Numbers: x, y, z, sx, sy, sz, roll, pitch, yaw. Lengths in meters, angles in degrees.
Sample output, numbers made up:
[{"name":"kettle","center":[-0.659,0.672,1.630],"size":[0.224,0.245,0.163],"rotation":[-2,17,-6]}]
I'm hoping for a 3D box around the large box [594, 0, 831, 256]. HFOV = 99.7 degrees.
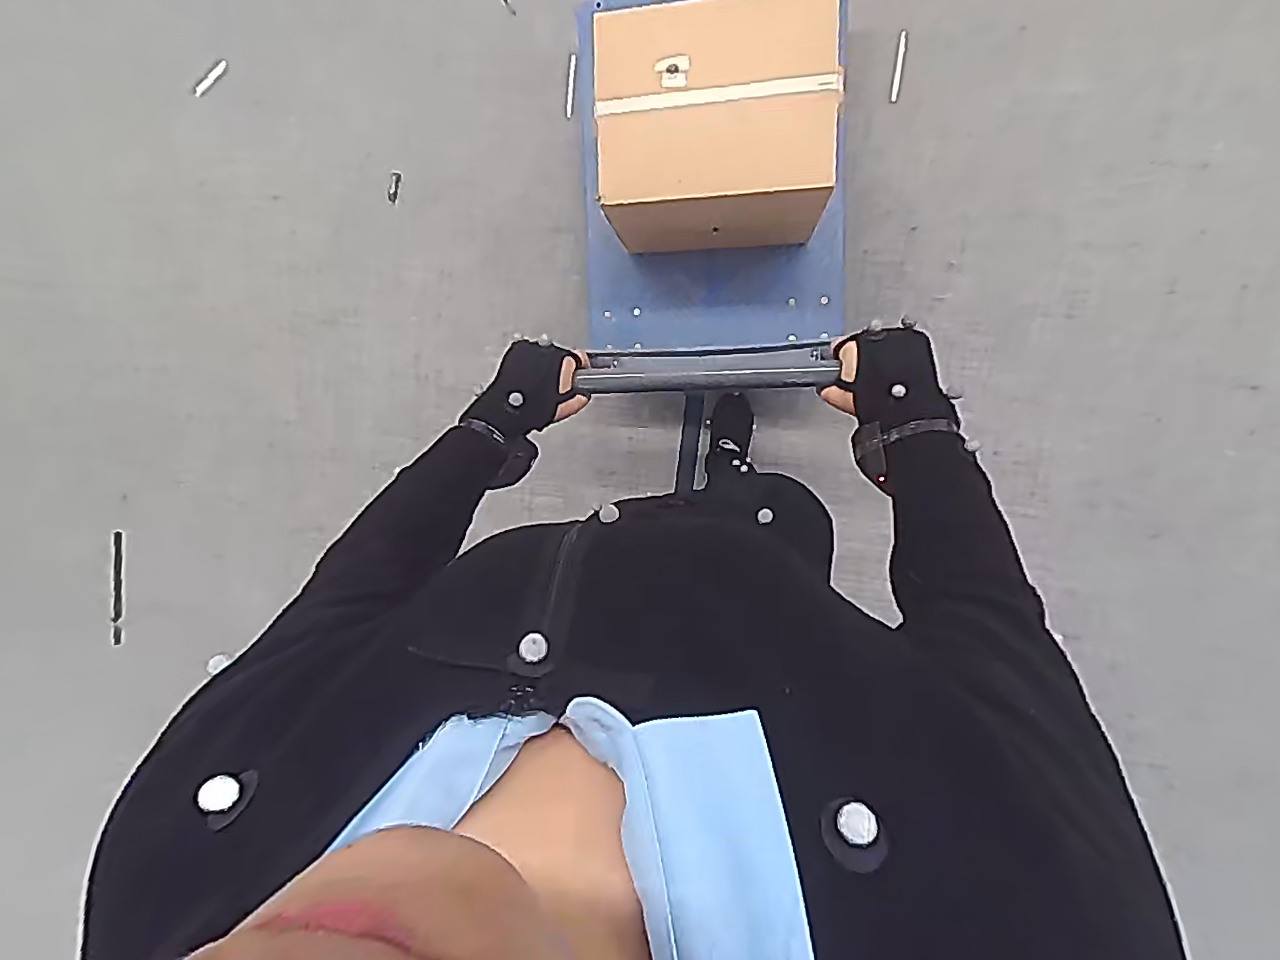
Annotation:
[{"name":"large box","center":[0.147,-0.656,1.071],"size":[0.408,0.320,0.320],"rotation":[0,96,10]}]
